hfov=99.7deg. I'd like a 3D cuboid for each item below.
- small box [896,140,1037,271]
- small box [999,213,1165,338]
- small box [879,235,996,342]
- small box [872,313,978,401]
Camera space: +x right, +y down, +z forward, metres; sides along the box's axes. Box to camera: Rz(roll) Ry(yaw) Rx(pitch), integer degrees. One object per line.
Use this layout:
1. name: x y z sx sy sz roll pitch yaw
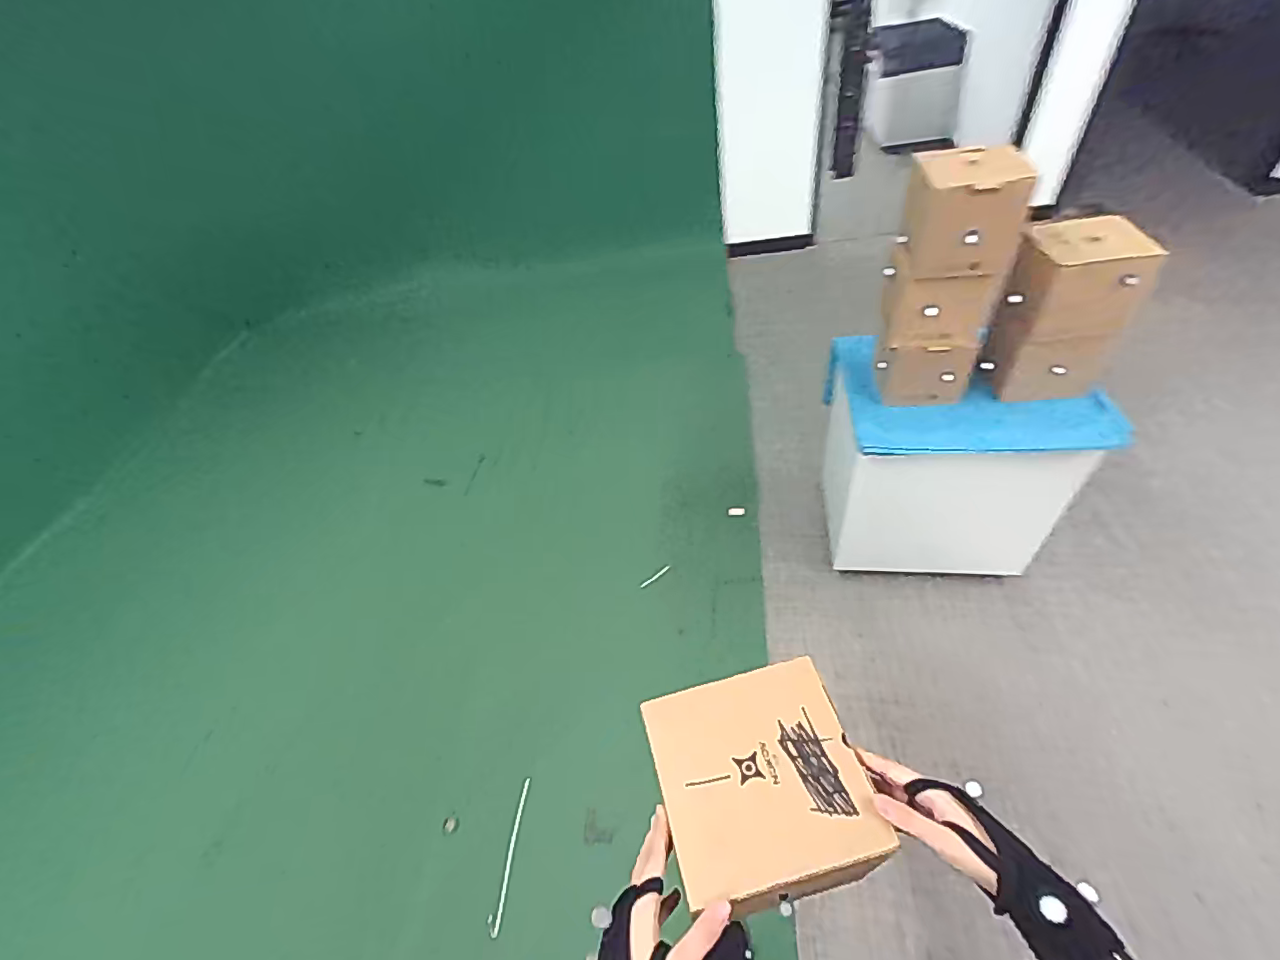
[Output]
1. small box: 0.593 -0.504 1.008 0.168 0.176 0.179 1 48 11
2. small box: 0.863 -0.404 1.078 0.179 0.176 0.168 -4 47 10
3. small box: 0.613 -0.403 1.136 0.168 0.176 0.179 1 48 11
4. small box: 0.648 -0.295 1.253 0.168 0.176 0.179 0 48 10
